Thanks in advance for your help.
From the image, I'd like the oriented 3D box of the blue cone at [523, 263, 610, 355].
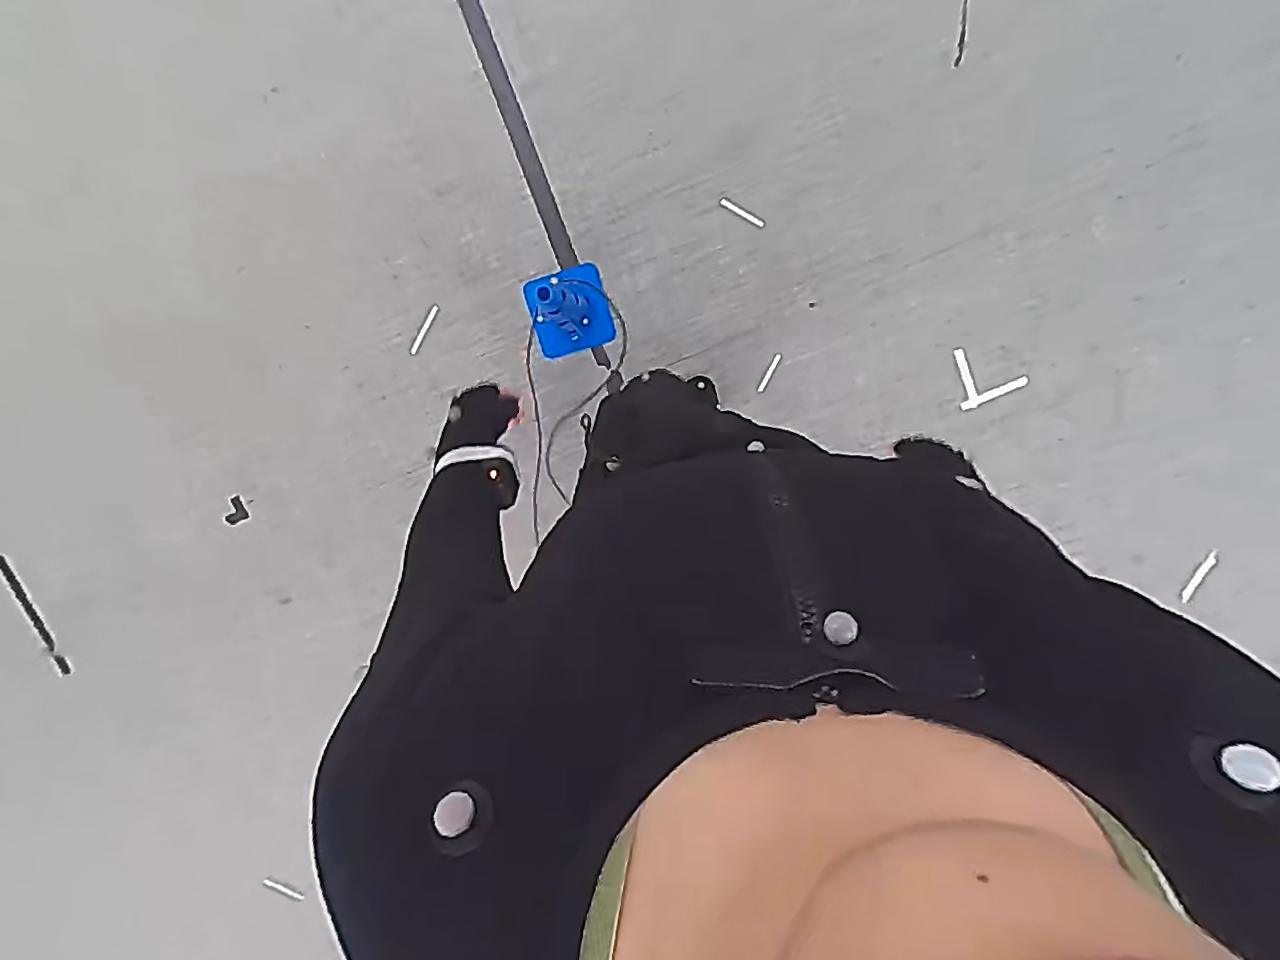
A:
[{"bbox_3d":[-0.188,-0.390,1.202,0.193,0.380,0.192,-18,101,5],"label":"blue cone"}]
